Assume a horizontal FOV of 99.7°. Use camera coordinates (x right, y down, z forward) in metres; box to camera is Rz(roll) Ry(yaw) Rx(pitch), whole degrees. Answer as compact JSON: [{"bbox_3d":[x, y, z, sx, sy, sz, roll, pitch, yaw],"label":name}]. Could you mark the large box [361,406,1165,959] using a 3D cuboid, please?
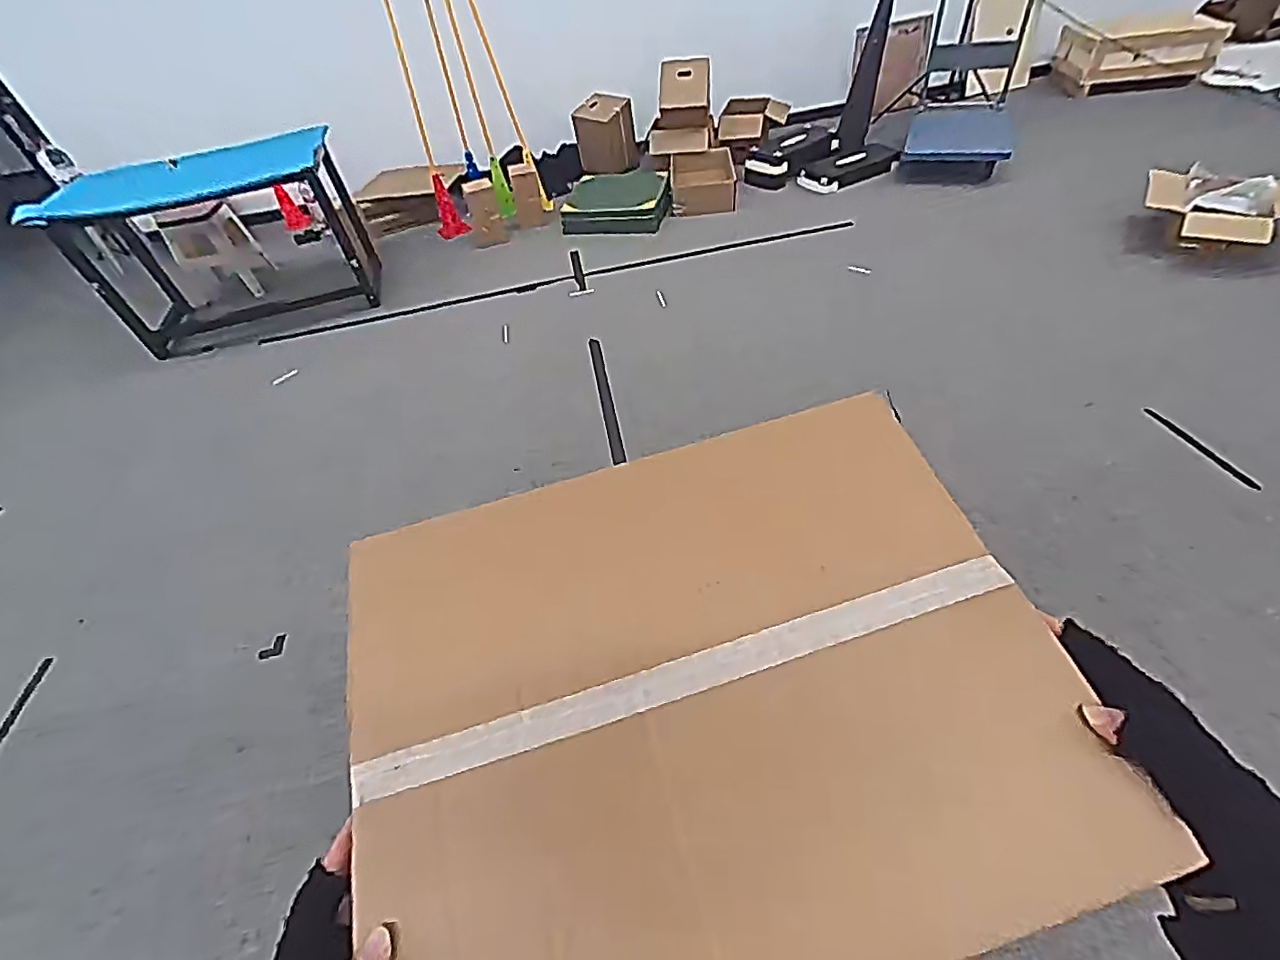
[{"bbox_3d":[0.047,0.198,0.455,0.408,0.320,0.320,-17,59,-5],"label":"large box"}]
